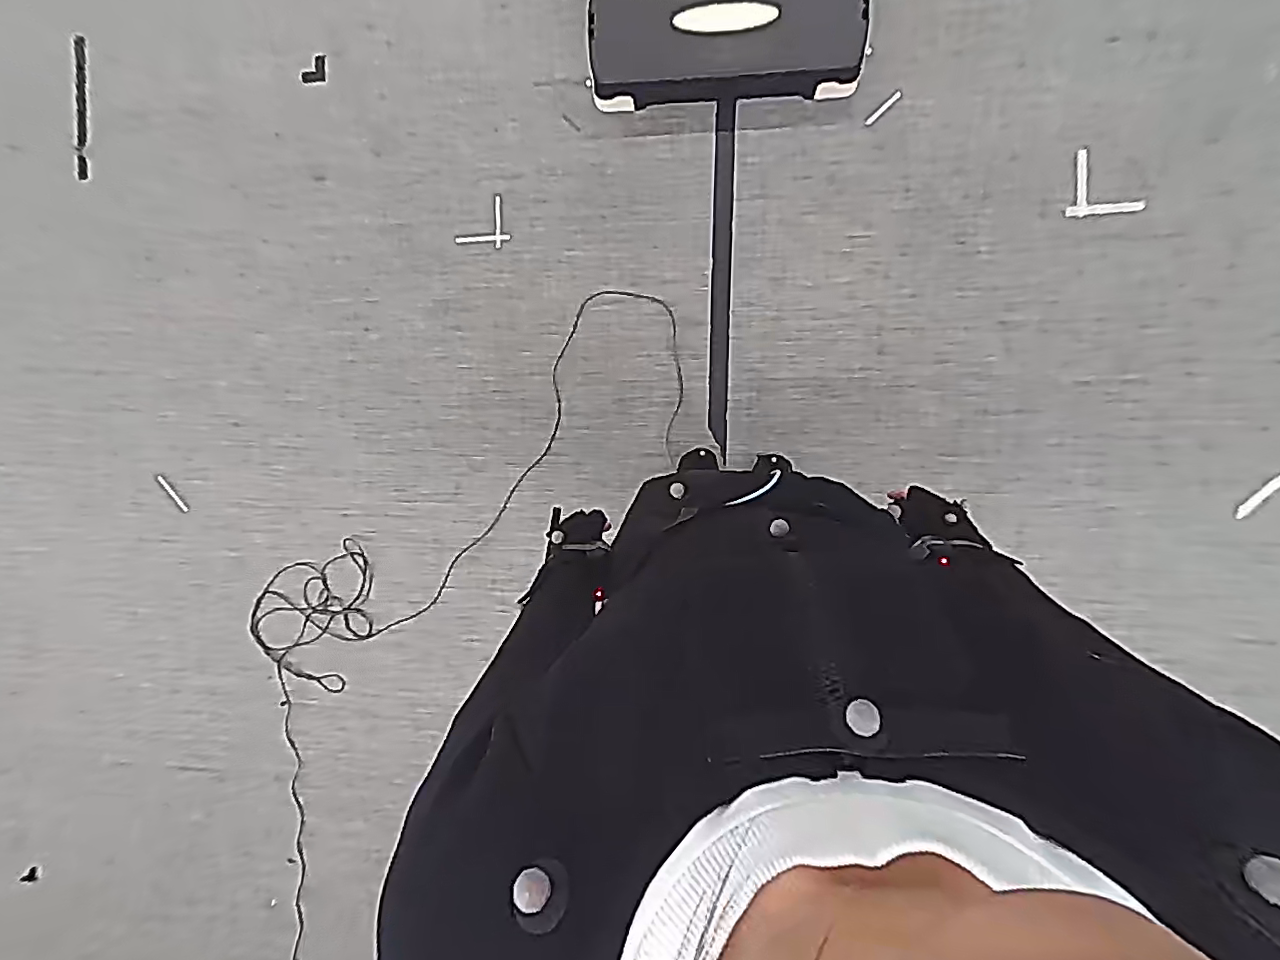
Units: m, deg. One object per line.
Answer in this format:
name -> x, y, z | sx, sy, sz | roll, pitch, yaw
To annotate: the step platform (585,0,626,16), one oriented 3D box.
step platform -> 0.176, -1.349, 1.281 | 0.684, 0.204, 0.286 | -1, 93, 5
